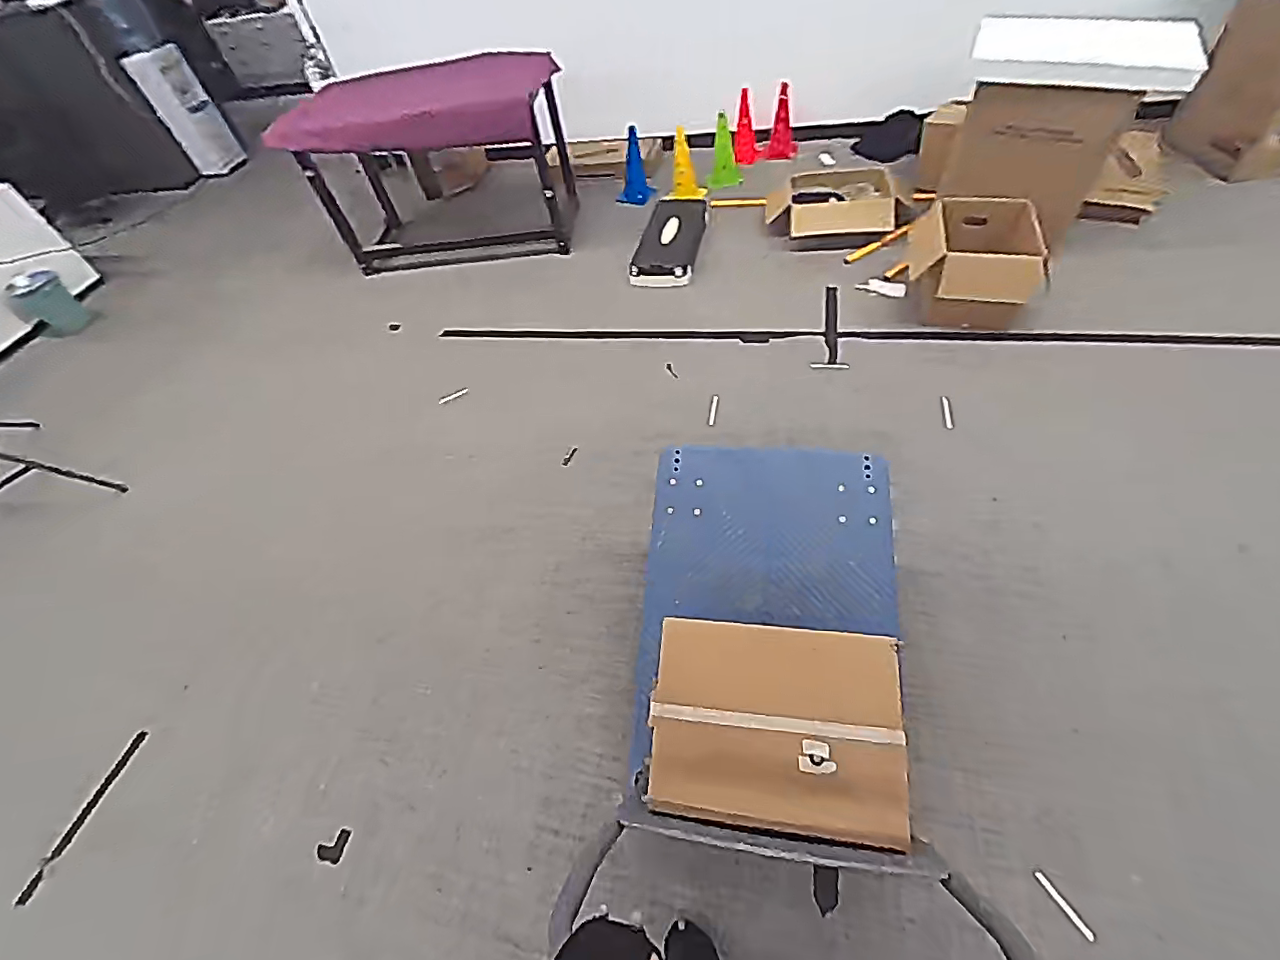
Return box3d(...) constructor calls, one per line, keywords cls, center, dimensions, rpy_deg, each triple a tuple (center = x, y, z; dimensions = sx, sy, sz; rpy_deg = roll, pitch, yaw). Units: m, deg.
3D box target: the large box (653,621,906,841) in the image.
box3d(cls="large box", center=(0.248, 0.469, 1.056), dimensions=(0.408, 0.320, 0.320), rpy_deg=(2, 68, 10))
